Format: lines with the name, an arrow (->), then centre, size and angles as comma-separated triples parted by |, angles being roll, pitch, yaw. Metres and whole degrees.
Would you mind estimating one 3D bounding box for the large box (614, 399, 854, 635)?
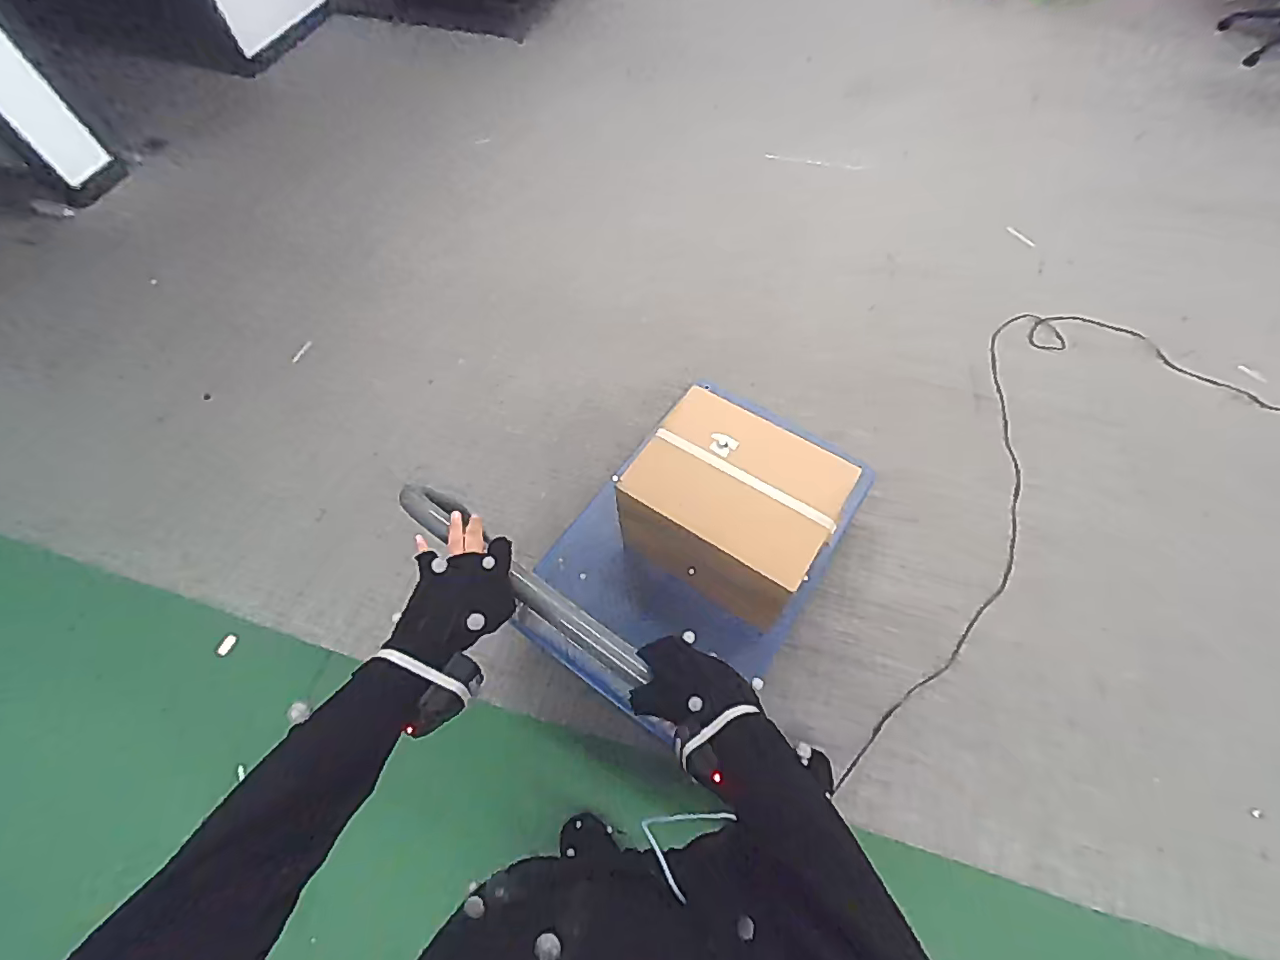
large box -> 0.202, 0.089, 1.233 | 0.408, 0.320, 0.320 | 29, 65, 19
